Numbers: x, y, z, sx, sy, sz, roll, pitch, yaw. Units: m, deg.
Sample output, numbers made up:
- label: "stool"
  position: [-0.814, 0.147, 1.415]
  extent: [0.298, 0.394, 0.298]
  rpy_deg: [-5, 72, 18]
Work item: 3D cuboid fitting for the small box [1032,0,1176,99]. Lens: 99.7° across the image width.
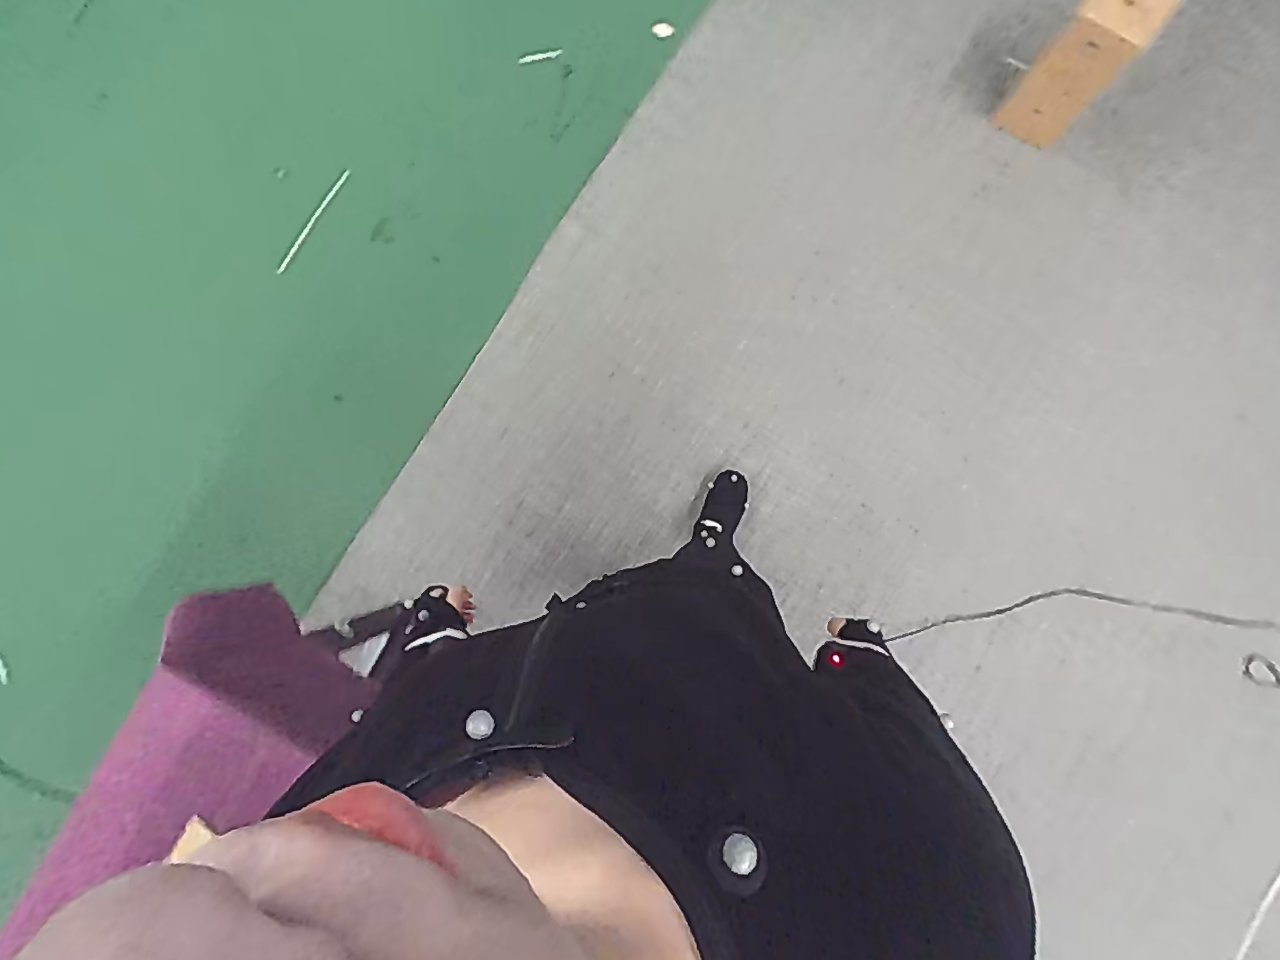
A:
- label: "small box"
  position: [1.099, -1.067, 1.292]
  extent: [0.179, 0.176, 0.168]
  rpy_deg: [35, 89, 5]
